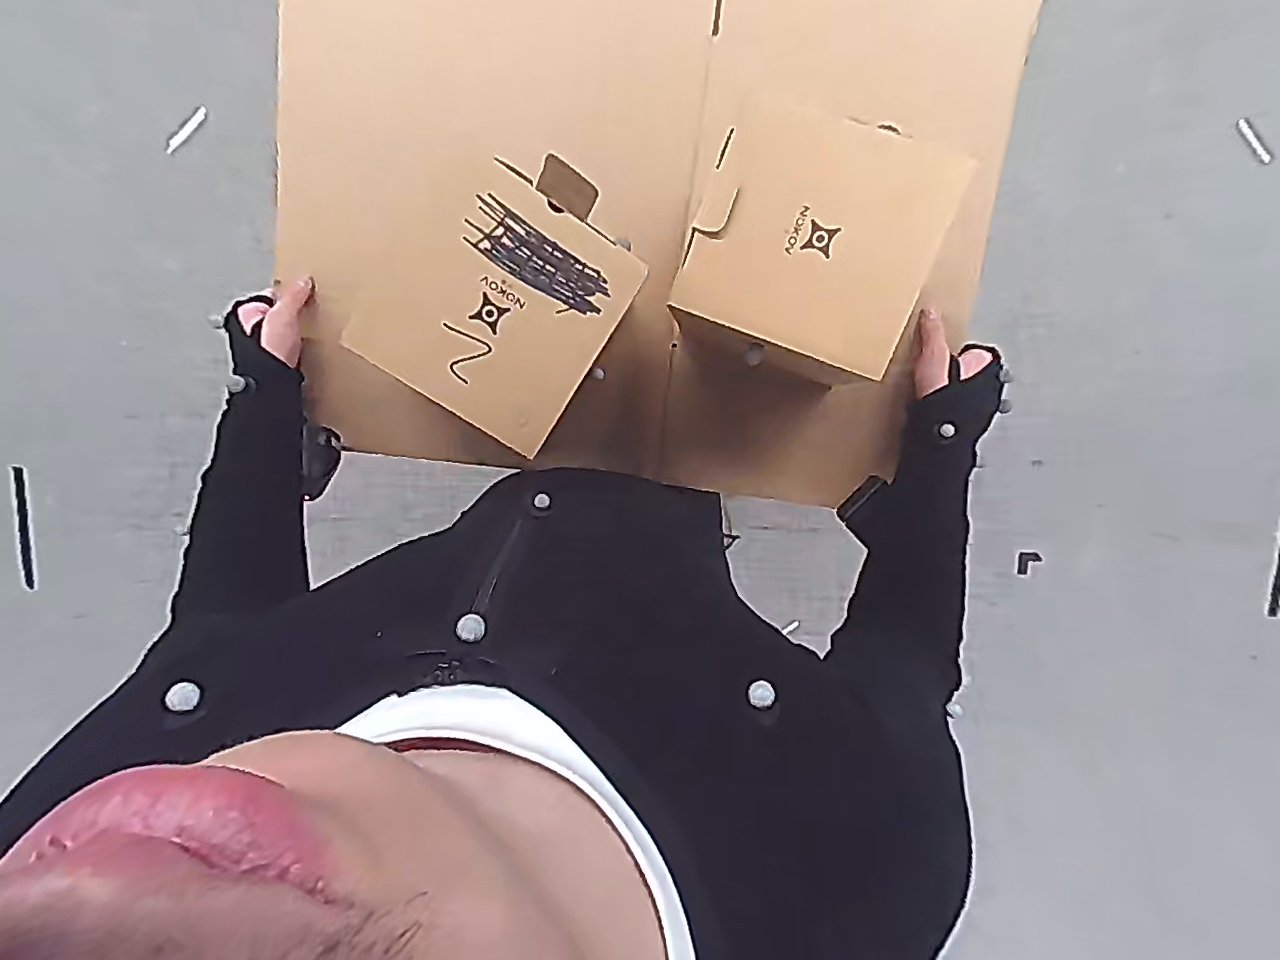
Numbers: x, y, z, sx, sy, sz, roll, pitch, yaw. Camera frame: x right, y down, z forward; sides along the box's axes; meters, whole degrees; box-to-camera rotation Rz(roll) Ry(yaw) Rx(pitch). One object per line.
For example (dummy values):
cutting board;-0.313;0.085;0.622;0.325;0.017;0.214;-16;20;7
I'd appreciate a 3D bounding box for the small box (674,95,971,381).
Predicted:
small box;0.146;-0.197;0.492;0.179;0.176;0.168;22;101;5
